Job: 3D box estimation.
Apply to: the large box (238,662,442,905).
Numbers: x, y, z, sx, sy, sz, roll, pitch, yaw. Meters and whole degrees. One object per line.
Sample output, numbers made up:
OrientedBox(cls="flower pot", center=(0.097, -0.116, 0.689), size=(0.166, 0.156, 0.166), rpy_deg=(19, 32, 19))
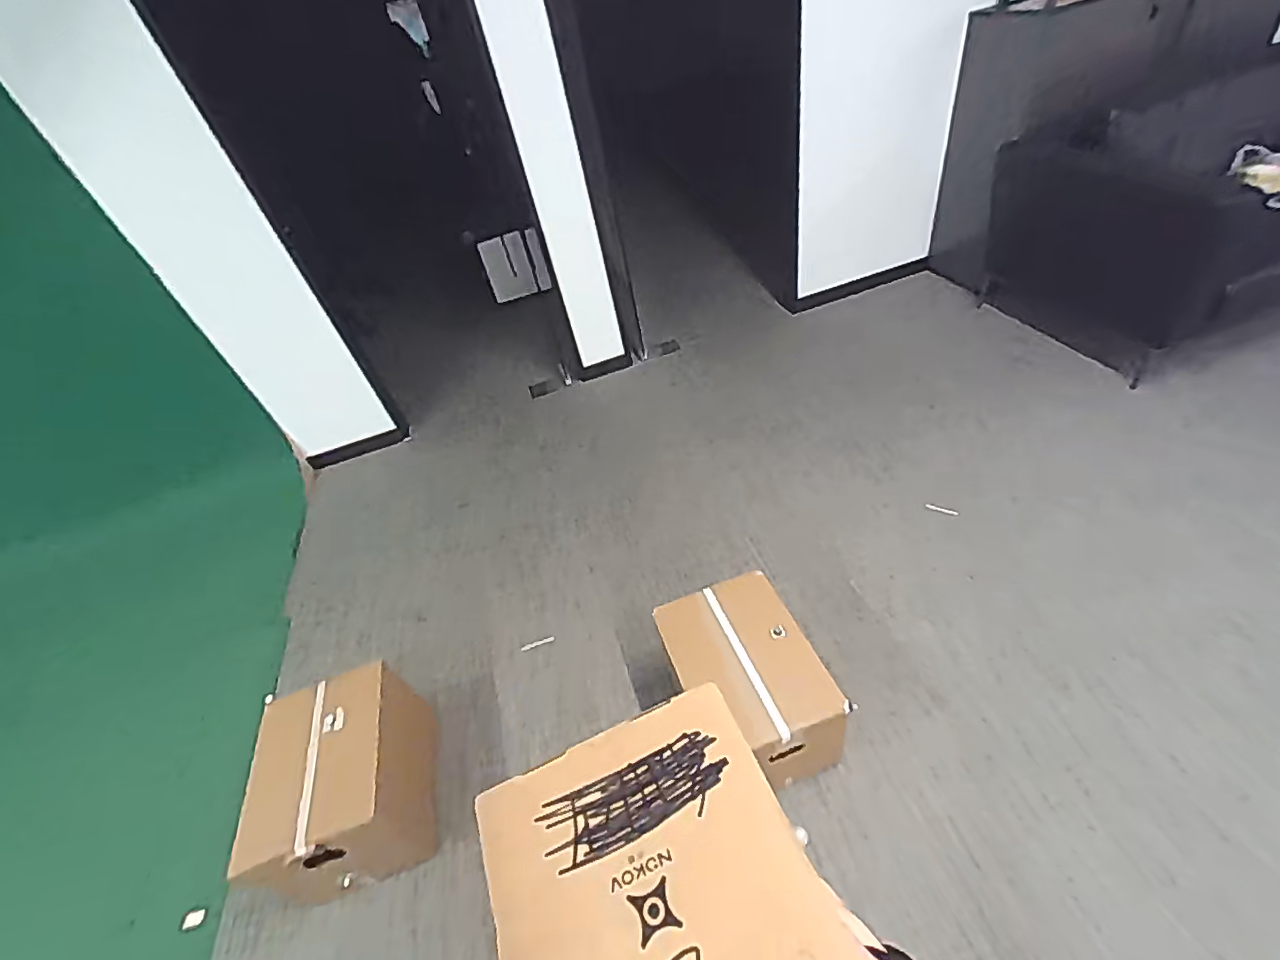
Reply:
OrientedBox(cls="large box", center=(-0.726, 0.763, 1.380), size=(0.320, 0.320, 0.408), rpy_deg=(-21, 42, -5))
